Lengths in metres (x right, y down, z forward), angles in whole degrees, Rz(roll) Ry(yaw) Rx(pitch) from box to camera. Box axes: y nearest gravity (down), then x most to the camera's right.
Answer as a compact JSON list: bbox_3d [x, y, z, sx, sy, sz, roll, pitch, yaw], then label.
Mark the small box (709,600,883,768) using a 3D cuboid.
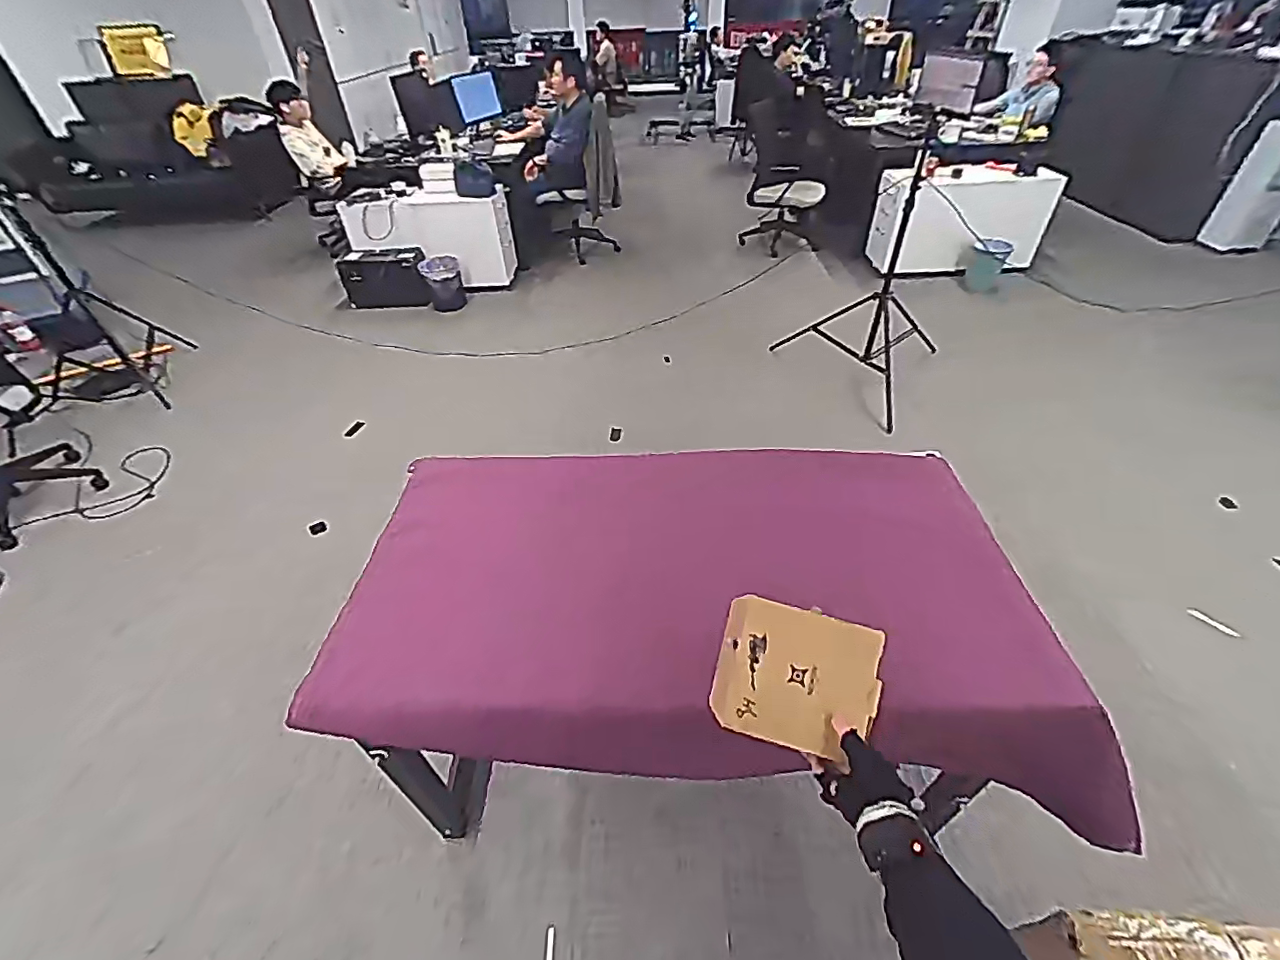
[{"bbox_3d":[0.205,0.267,0.749,0.179,0.176,0.168,14,77,5],"label":"small box"}]
